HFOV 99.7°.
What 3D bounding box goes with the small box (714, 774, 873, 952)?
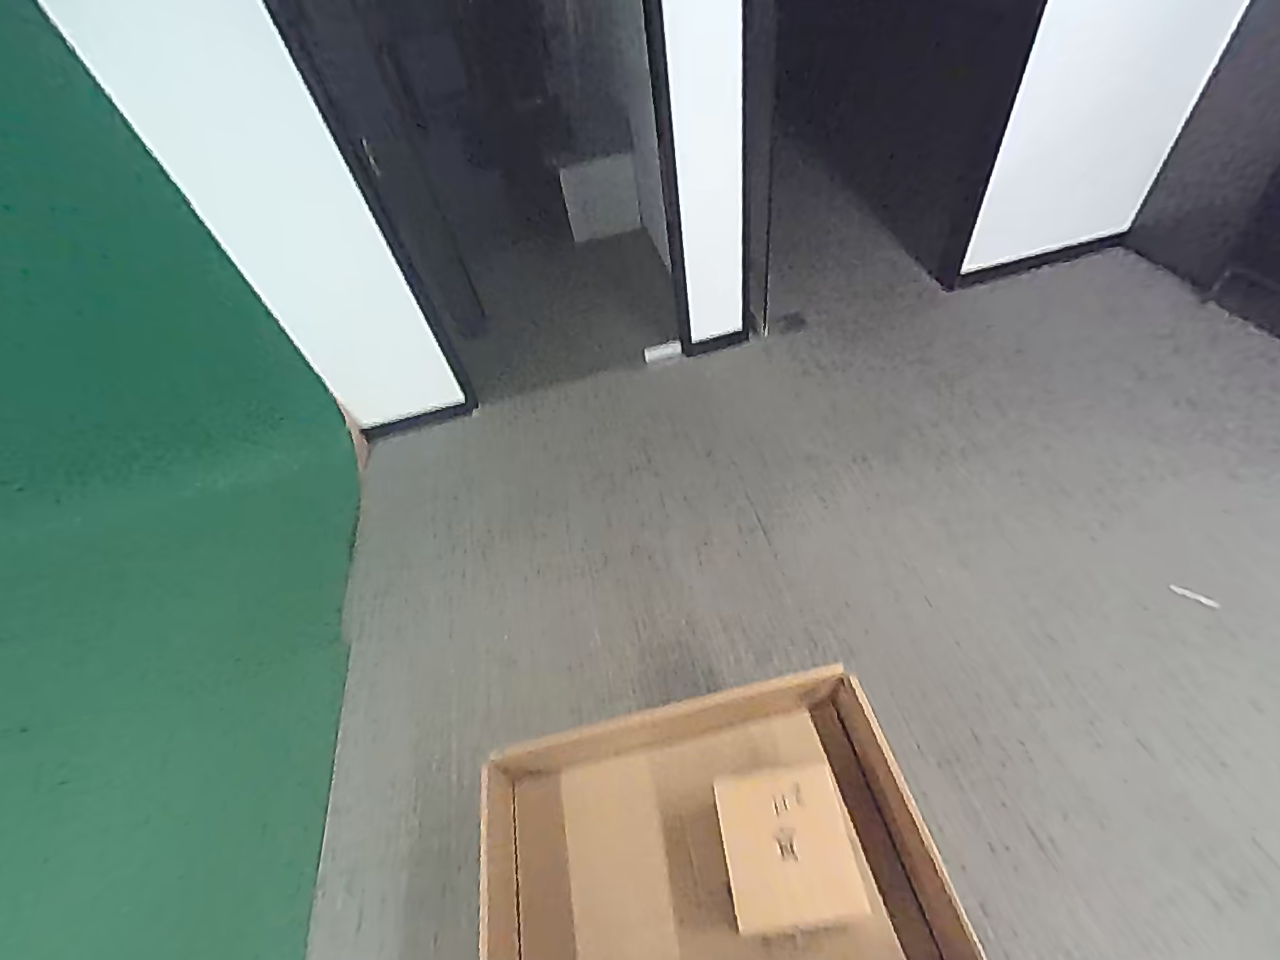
[{"bbox_3d":[0.203,0.536,0.756,0.168,0.176,0.179,-10,47,2],"label":"small box"}]
